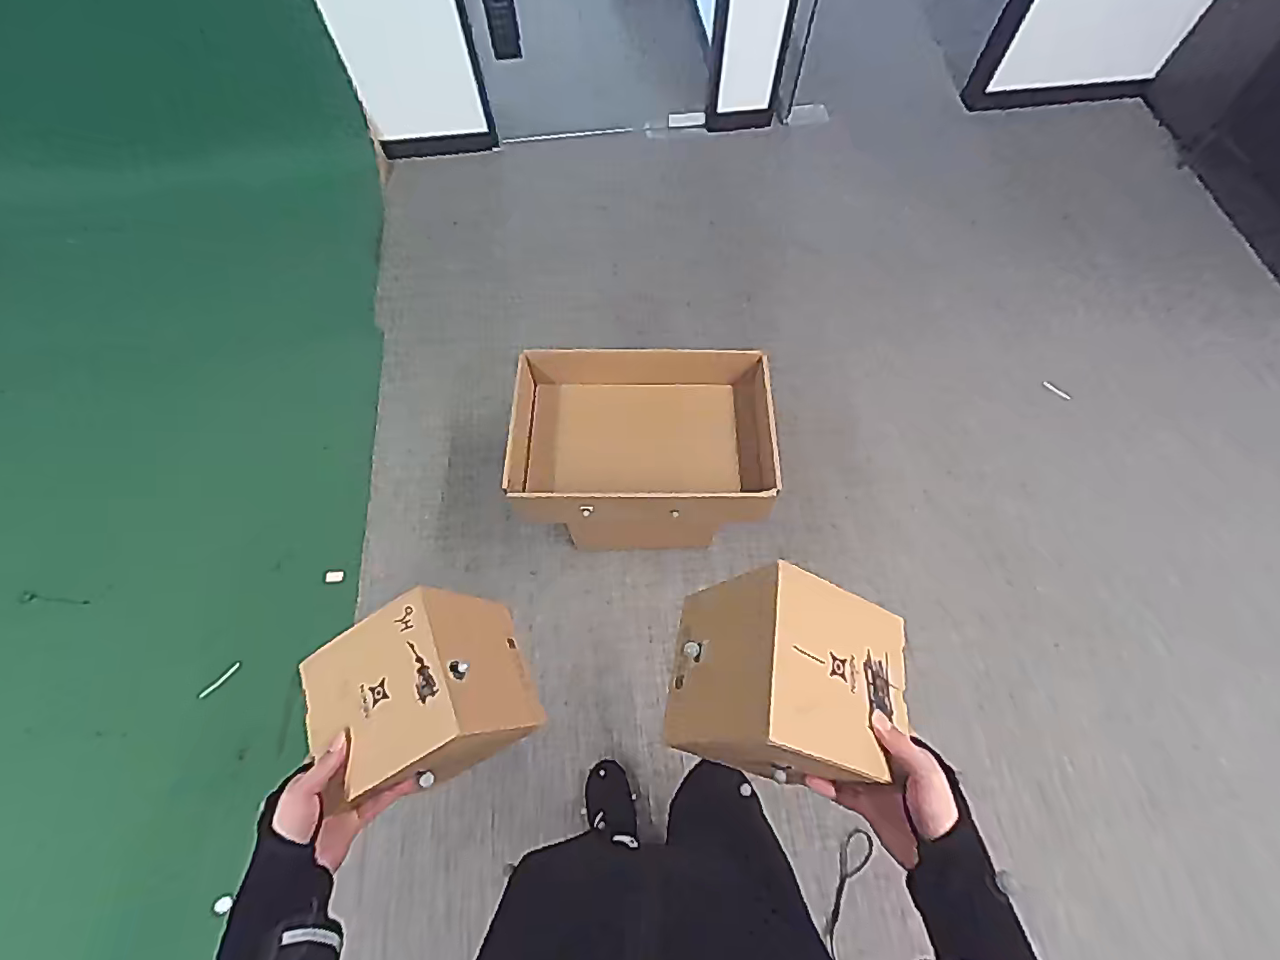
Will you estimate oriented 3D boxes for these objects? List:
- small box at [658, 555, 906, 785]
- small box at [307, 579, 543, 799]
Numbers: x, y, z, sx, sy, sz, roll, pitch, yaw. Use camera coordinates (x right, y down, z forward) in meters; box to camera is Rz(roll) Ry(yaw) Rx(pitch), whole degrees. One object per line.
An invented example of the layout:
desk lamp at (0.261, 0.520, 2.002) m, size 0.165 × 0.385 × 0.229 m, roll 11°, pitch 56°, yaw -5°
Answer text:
small box at (0.144, 0.204, 0.566) m, size 0.179 × 0.176 × 0.168 m, roll 26°, pitch 55°, yaw -18°
small box at (-0.246, 0.242, 0.633) m, size 0.179 × 0.176 × 0.168 m, roll -32°, pitch 61°, yaw 8°
